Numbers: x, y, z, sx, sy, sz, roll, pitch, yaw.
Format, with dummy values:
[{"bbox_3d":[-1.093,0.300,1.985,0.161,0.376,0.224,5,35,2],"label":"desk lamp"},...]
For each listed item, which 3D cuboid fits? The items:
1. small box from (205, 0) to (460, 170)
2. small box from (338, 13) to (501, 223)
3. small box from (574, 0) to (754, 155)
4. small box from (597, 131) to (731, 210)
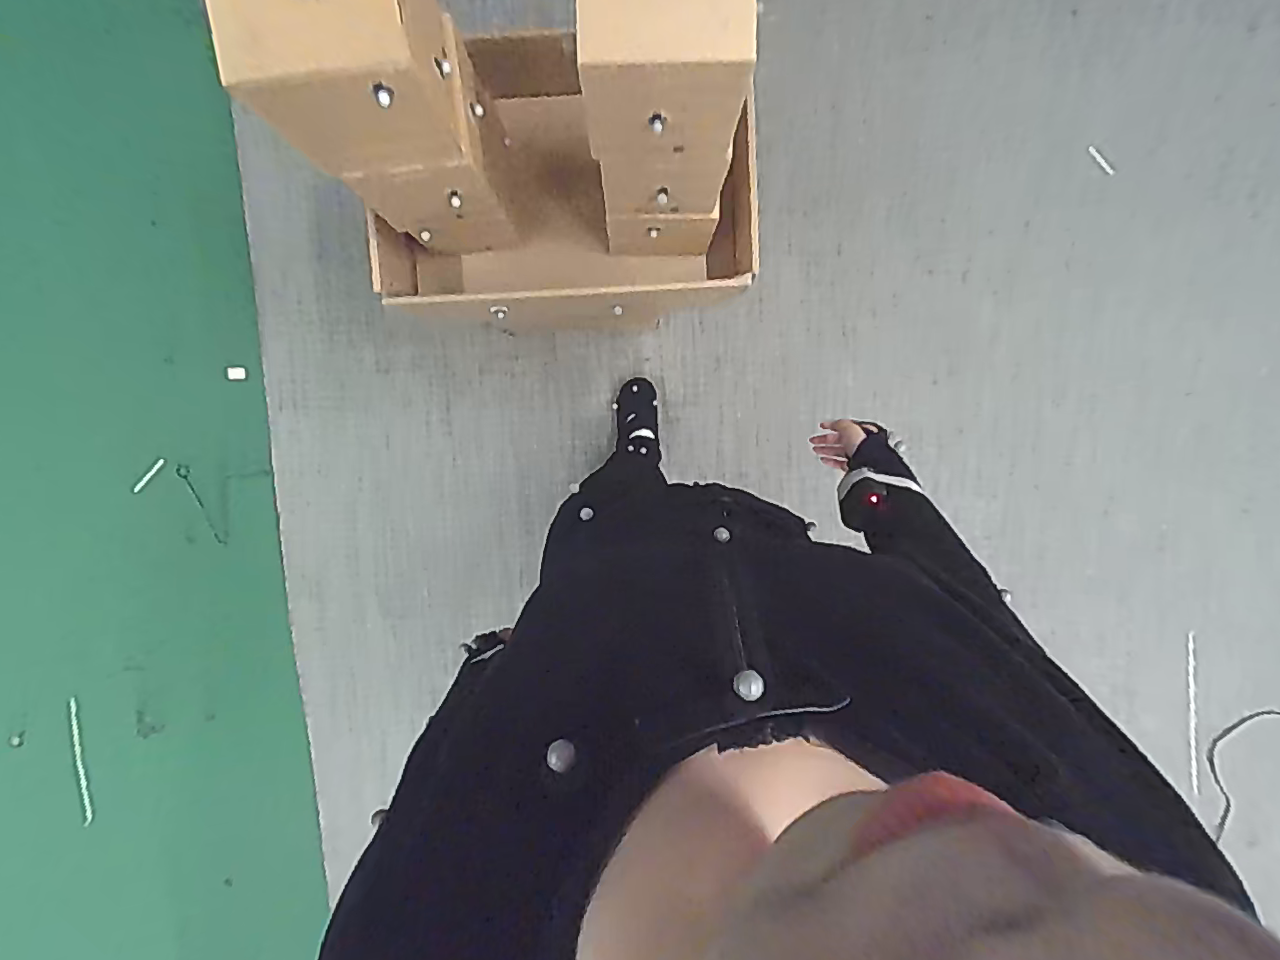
[{"bbox_3d":[-0.309,-0.454,0.567,0.179,0.176,0.168,-8,94,-1],"label":"small box"},{"bbox_3d":[-0.295,-0.466,0.729,0.168,0.176,0.179,-7,94,0],"label":"small box"},{"bbox_3d":[0.023,-0.467,0.563,0.168,0.176,0.179,0,94,-1],"label":"small box"},{"bbox_3d":[0.029,-0.481,0.728,0.168,0.176,0.179,-1,95,0],"label":"small box"}]
